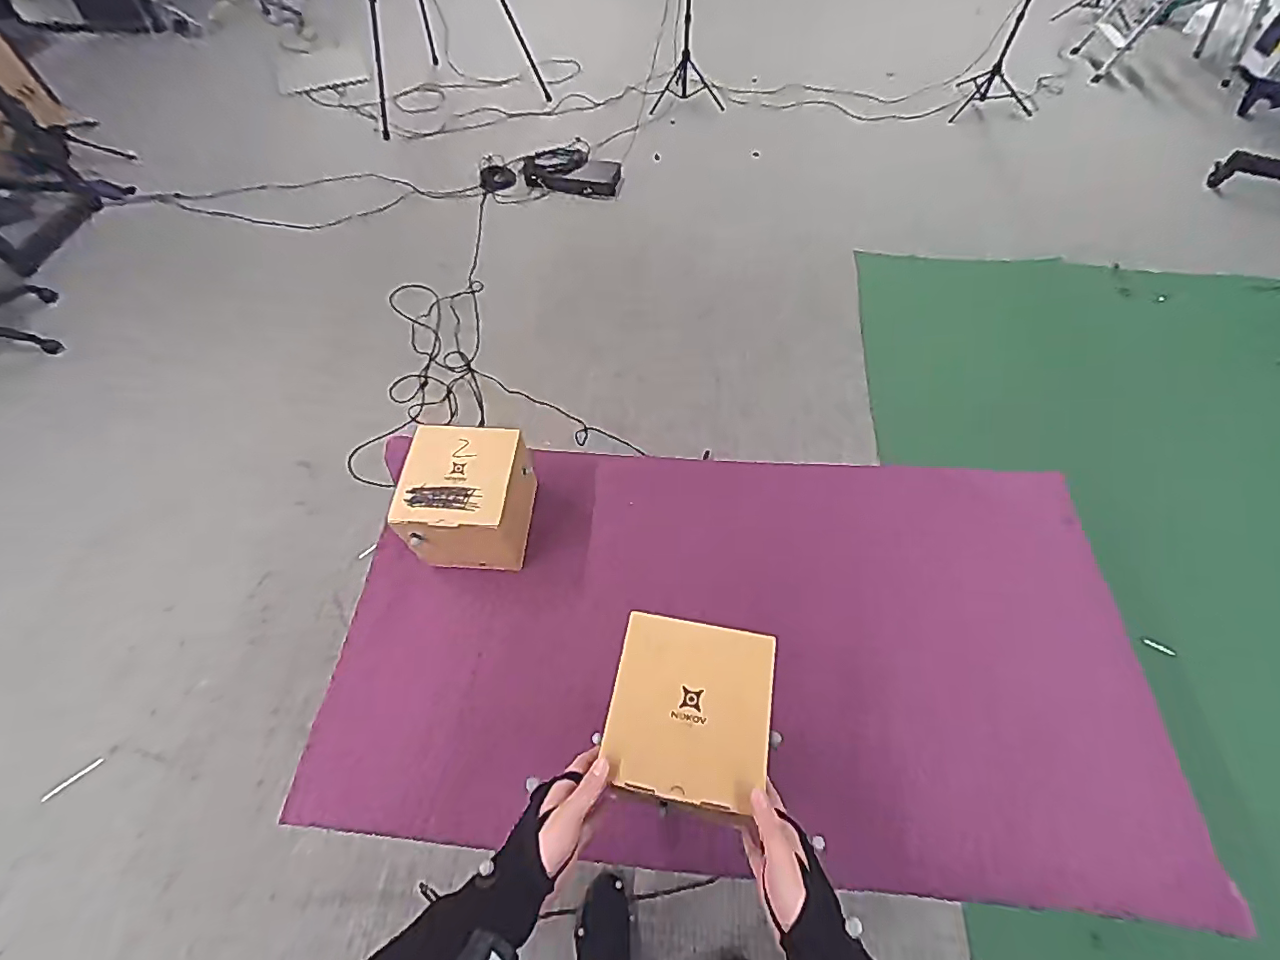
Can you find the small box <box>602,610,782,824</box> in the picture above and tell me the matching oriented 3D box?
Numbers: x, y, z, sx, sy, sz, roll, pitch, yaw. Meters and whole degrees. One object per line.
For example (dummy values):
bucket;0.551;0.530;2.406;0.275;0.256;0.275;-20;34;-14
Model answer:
small box;0.060;0.274;0.620;0.168;0.176;0.179;9;57;8
